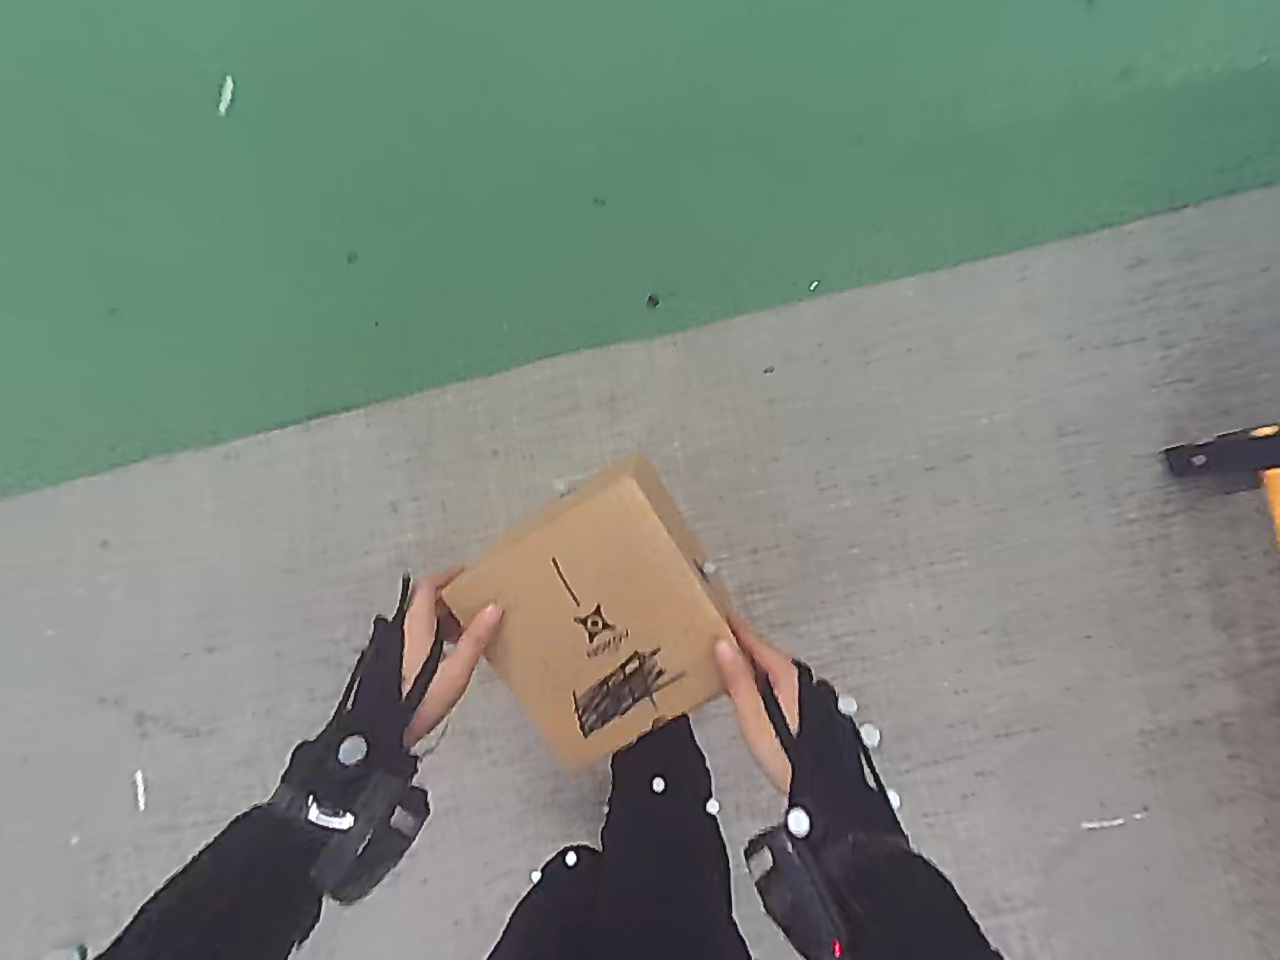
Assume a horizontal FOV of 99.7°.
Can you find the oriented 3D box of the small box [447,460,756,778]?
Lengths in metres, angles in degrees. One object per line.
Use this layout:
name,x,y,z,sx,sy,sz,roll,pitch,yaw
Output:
small box,-0.023,0.101,0.466,0.168,0.176,0.179,-31,97,7
